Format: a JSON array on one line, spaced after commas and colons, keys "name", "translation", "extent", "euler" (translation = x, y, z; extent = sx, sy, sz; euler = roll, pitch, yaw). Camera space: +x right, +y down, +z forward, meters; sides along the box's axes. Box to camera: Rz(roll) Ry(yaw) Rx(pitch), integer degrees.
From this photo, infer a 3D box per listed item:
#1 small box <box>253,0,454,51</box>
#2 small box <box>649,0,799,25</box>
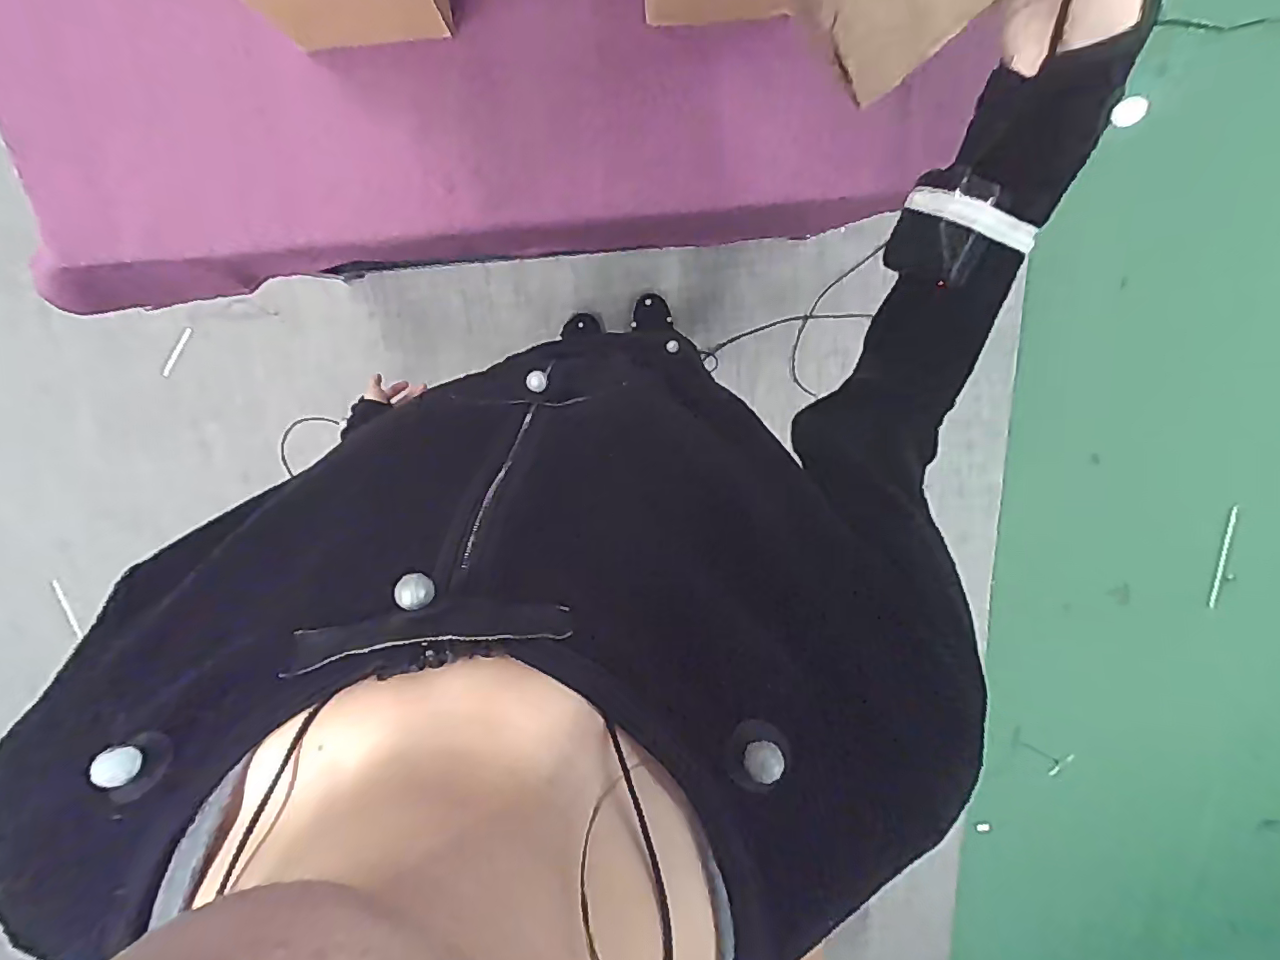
[{"name": "small box", "translation": [-0.296, -0.538, 0.505], "extent": [0.179, 0.176, 0.168], "euler": [-8, 107, -2]}, {"name": "small box", "translation": [0.094, -0.577, 0.520], "extent": [0.179, 0.176, 0.168], "euler": [-6, 108, -3]}]
